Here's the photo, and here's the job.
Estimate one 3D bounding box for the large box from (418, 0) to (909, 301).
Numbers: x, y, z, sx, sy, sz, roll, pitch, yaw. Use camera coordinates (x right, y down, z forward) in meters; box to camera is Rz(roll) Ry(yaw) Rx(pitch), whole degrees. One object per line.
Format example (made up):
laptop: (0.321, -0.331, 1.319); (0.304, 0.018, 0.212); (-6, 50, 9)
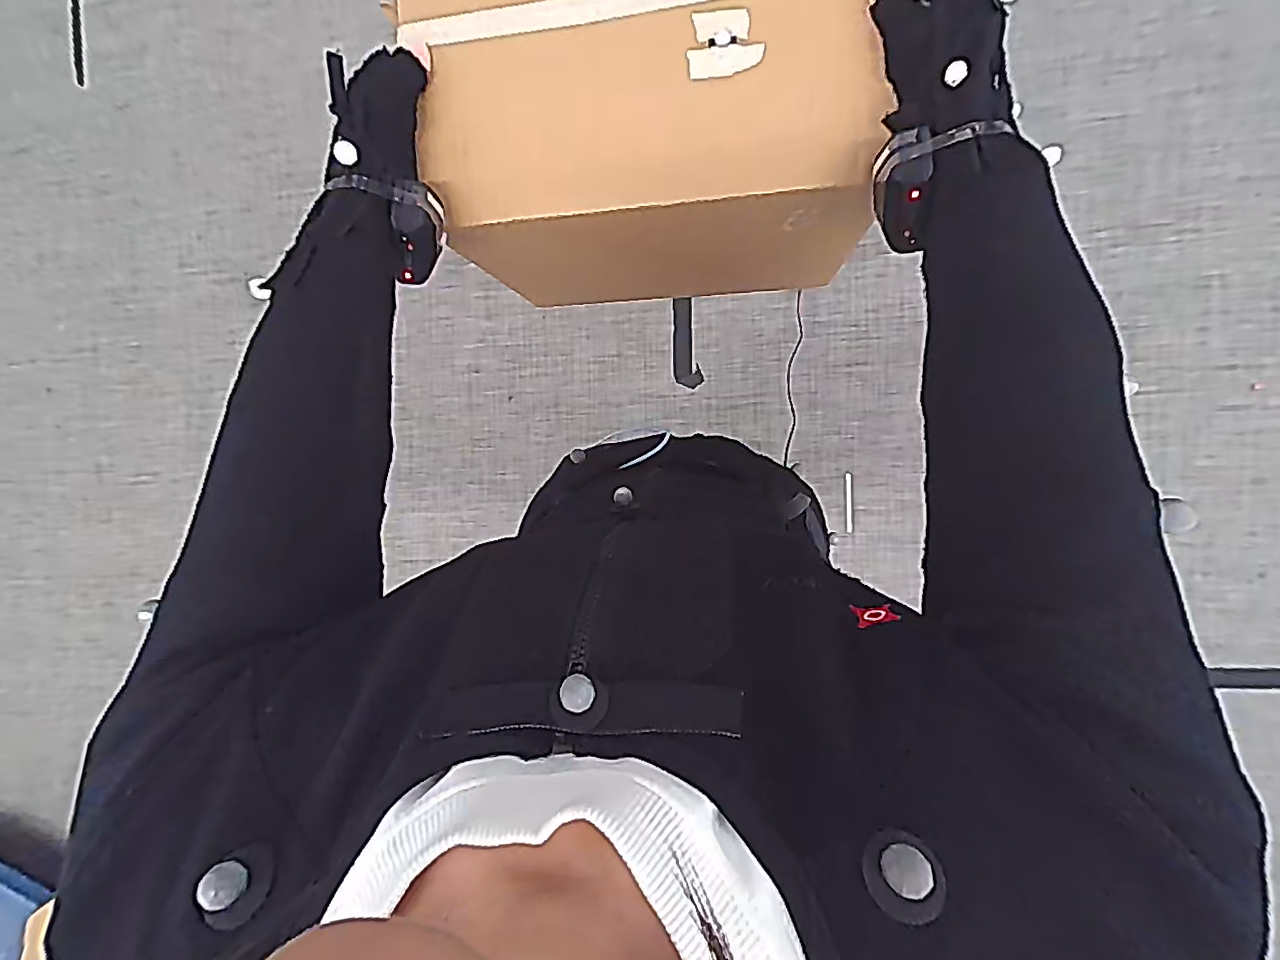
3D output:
large box: (0.024, -0.402, 0.586); (0.408, 0.320, 0.320); (-2, 96, 8)
